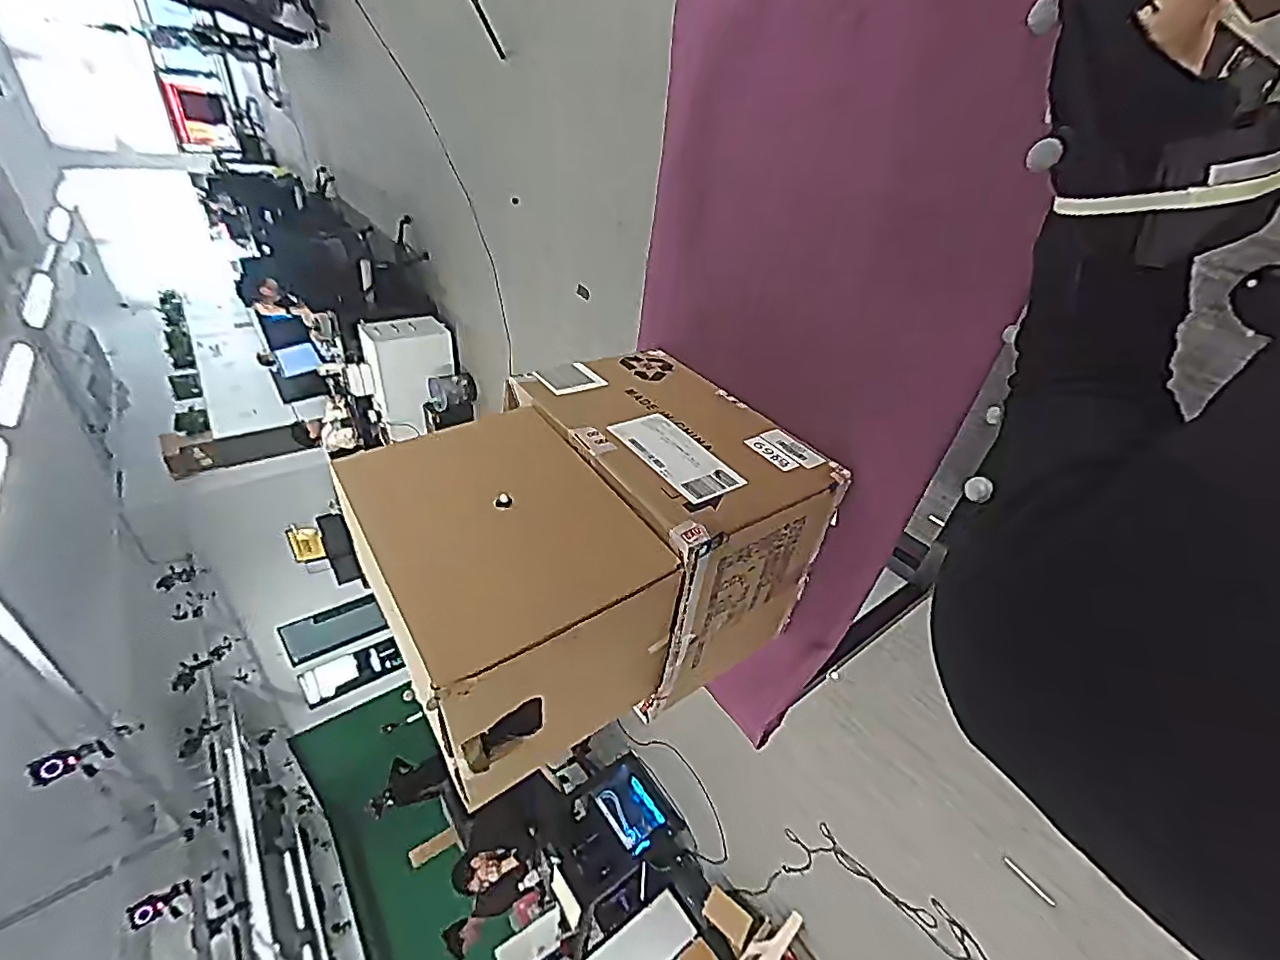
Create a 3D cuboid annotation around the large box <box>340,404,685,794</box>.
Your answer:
[{"bbox_3d":[-0.190,0.137,0.797,0.408,0.320,0.320,43,143,36],"label":"large box"}]
